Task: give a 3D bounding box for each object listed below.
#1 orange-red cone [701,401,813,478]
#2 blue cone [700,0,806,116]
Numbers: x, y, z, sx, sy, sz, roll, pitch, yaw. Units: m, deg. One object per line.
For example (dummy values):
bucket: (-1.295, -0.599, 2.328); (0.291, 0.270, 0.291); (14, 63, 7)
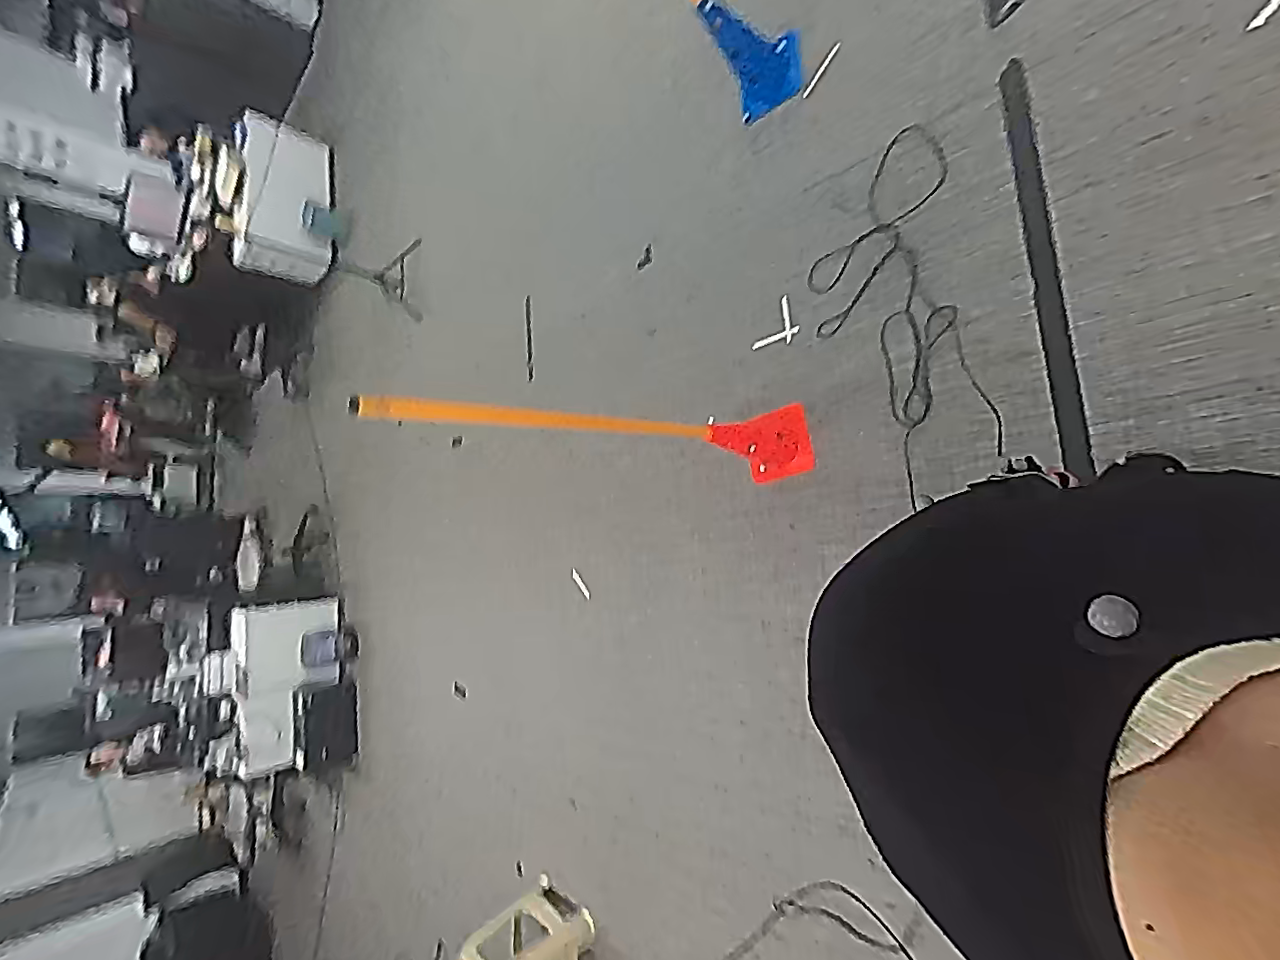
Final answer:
orange-red cone: (0.284, -0.121, 1.446); (0.199, 0.360, 0.198); (-17, 77, 40)
blue cone: (0.291, -1.230, 1.507); (0.193, 0.380, 0.192); (-7, 84, 43)
